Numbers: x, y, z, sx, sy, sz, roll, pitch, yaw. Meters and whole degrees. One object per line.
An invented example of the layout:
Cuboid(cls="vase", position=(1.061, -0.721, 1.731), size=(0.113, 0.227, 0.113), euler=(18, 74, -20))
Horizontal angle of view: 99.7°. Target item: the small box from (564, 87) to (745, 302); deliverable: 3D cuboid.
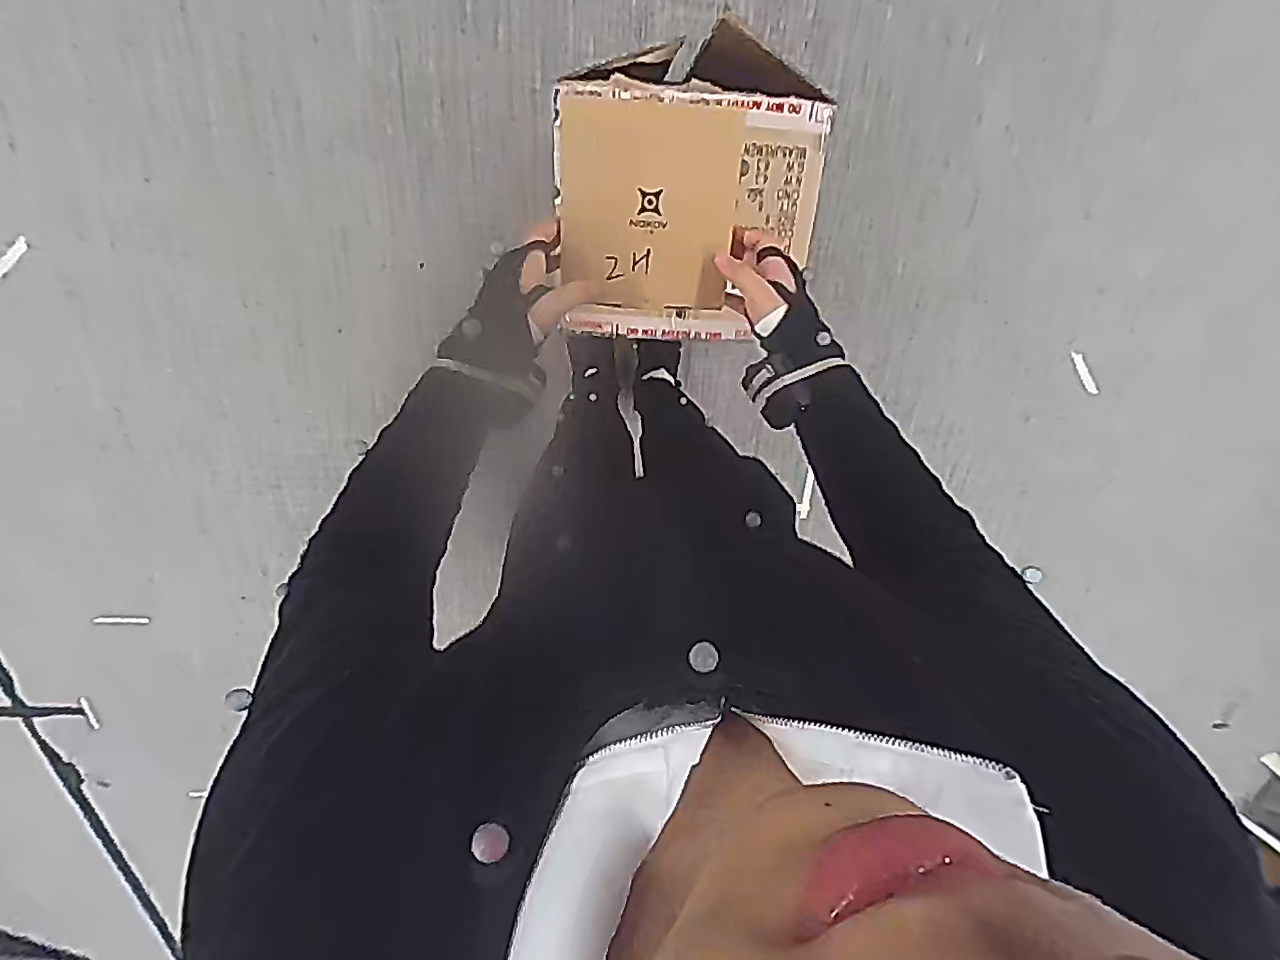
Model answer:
Cuboid(cls="small box", position=(0.004, -0.301, 0.585), size=(0.168, 0.176, 0.179), euler=(1, 119, -4))
